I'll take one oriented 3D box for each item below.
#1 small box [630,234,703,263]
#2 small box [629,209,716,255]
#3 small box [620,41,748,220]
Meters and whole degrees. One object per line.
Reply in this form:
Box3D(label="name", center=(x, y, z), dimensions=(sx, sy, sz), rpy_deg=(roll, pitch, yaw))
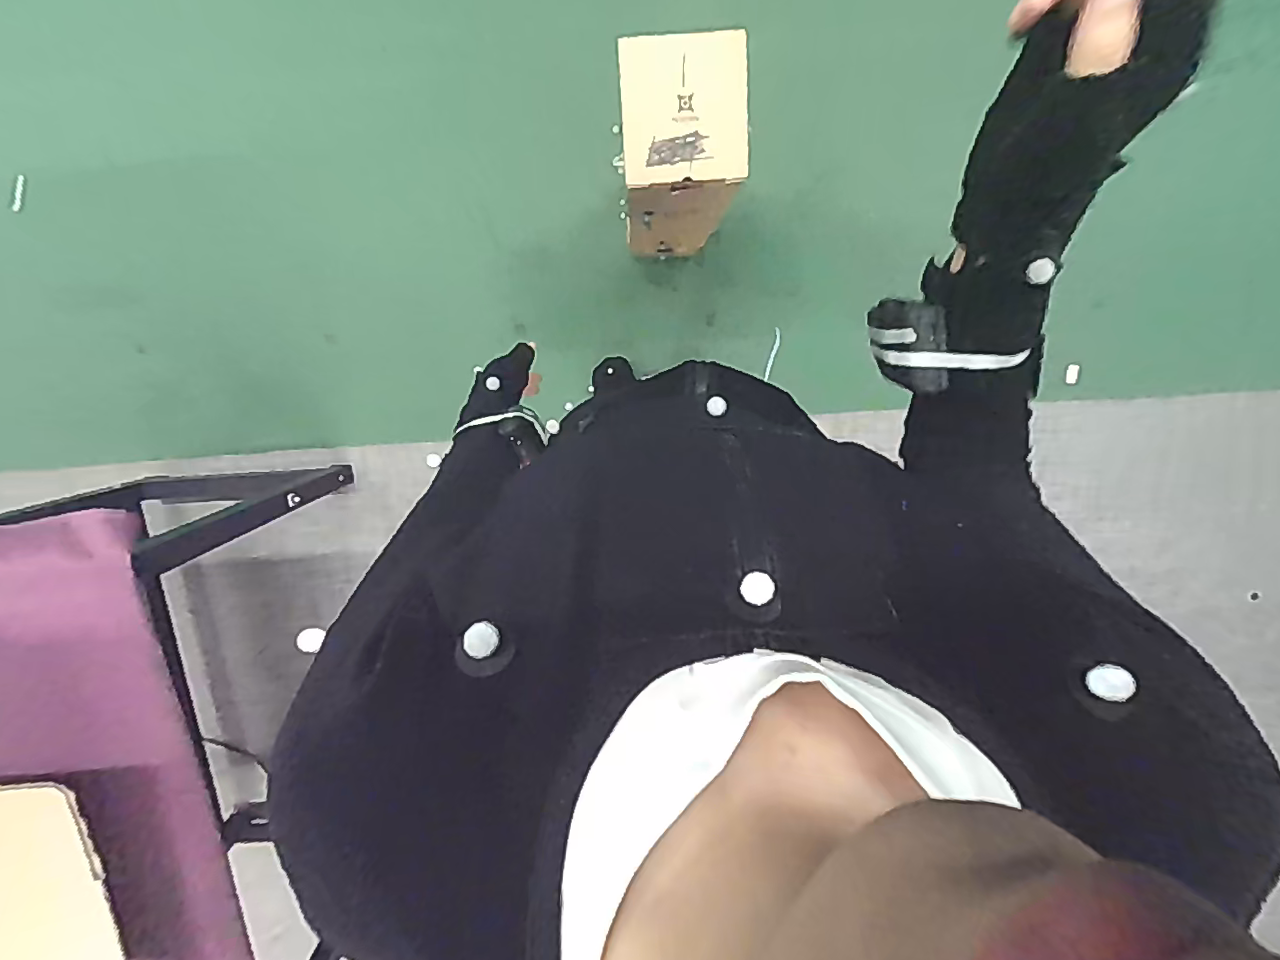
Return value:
Box3D(label="small box", center=(0.060, -0.616, 1.265), dimensions=(0.168, 0.176, 0.179), rpy_deg=(-1, 103, 1))
Box3D(label="small box", center=(0.060, -0.573, 1.108), dimensions=(0.168, 0.176, 0.179), rpy_deg=(-4, 103, 1))
Box3D(label="small box", center=(0.060, -0.491, 0.789), dimensions=(0.168, 0.176, 0.179), rpy_deg=(-3, 102, 0))
